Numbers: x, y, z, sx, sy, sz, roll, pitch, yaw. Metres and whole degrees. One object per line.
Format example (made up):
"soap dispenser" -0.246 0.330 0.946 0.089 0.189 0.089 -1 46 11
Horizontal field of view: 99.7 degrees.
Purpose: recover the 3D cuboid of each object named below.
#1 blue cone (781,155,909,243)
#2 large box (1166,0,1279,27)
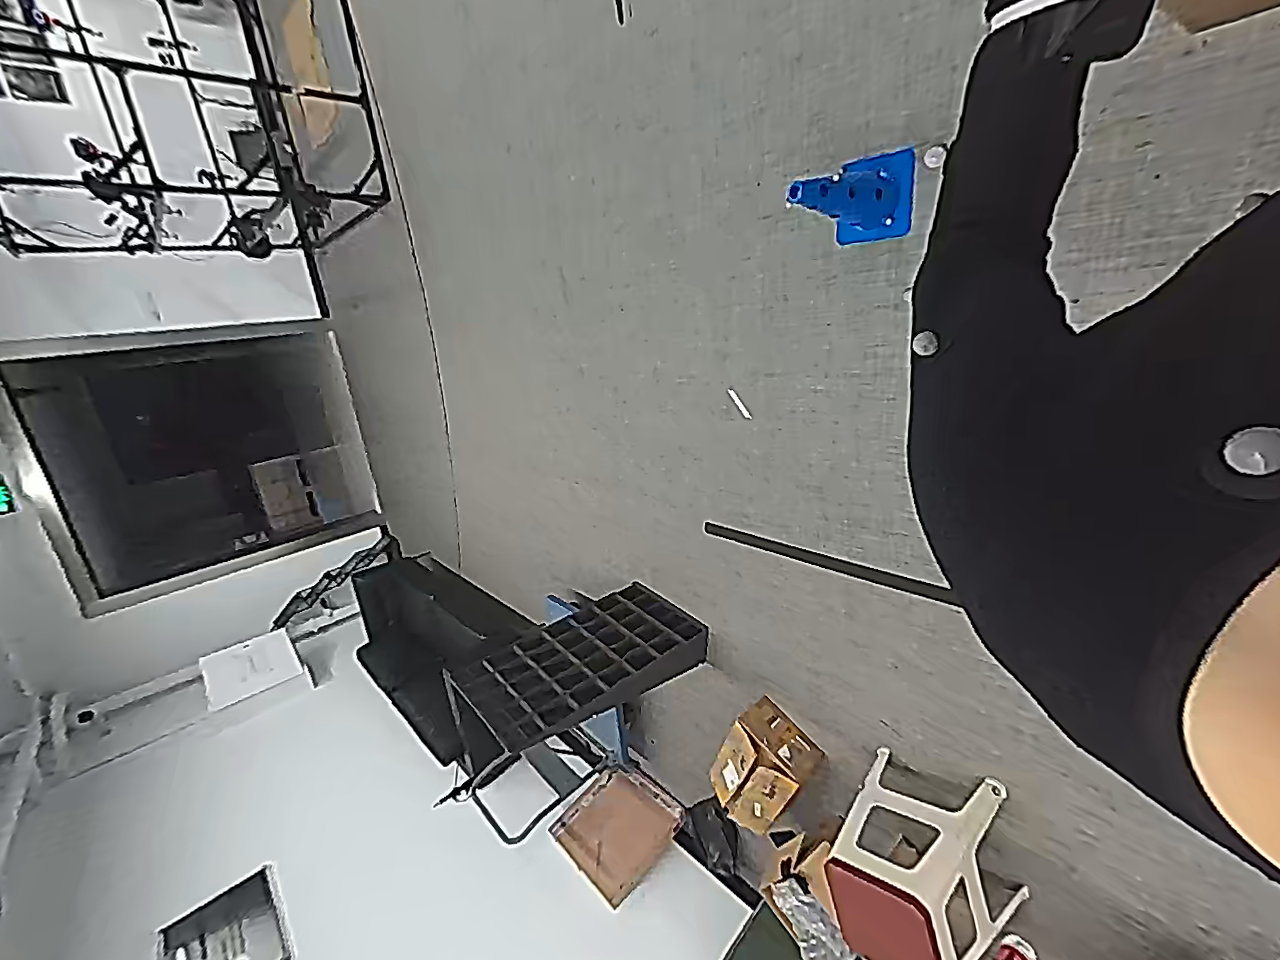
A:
"blue cone" 0.474 -0.681 1.302 0.192 0.380 0.193 18 119 47
"large box" 0.502 -0.475 0.218 0.408 0.320 0.320 11 121 46
